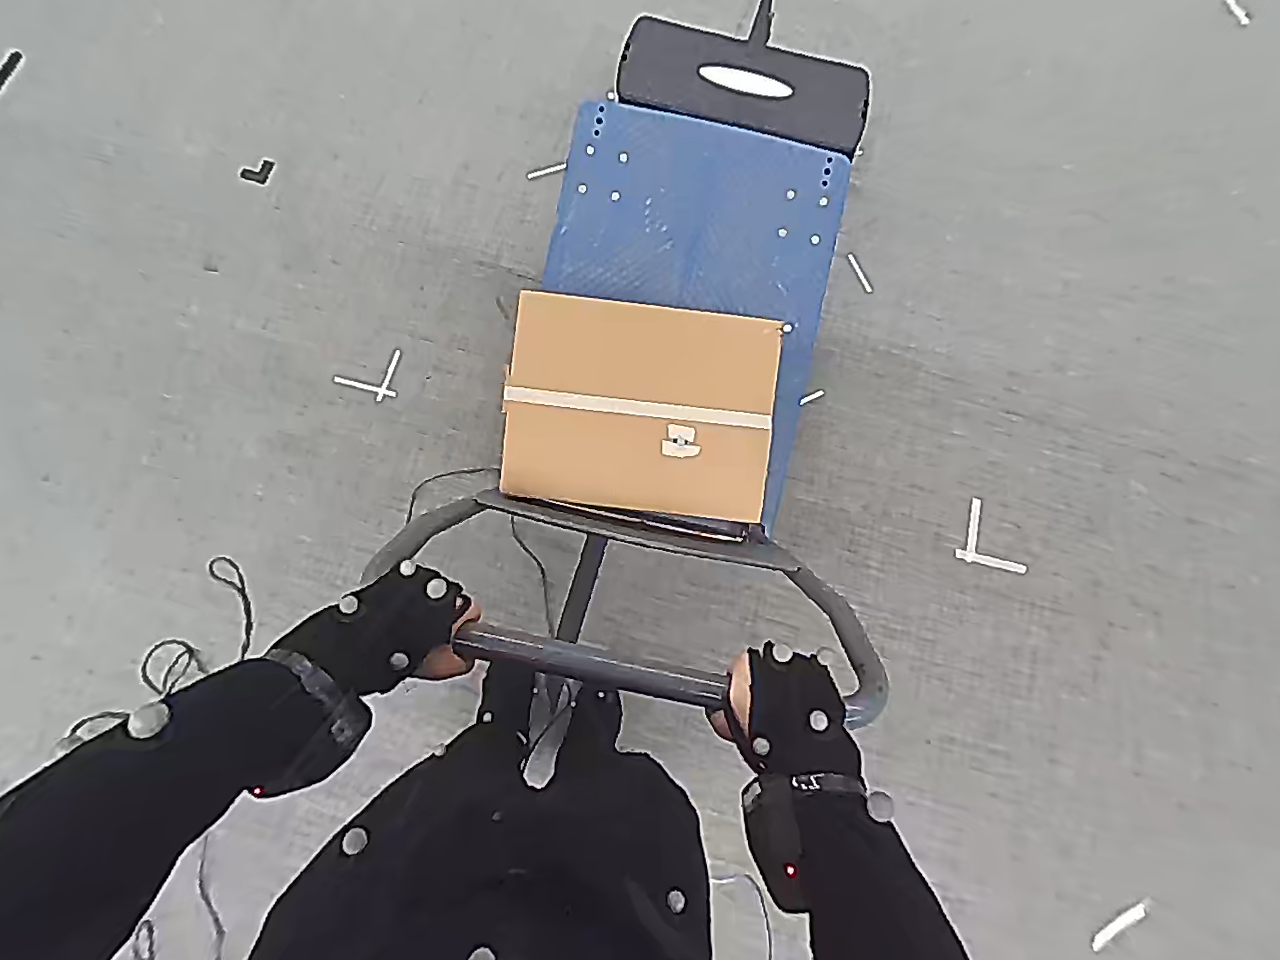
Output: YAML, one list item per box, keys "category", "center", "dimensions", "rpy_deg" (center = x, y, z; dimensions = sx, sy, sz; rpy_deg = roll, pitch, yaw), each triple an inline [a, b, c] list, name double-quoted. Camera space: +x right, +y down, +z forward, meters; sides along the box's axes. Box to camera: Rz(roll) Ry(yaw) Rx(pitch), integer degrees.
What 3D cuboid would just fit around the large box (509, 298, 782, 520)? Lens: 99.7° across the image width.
- category: "large box"
  center: [0.002, -0.110, 0.979]
  dimensions: [0.408, 0.320, 0.320]
  rpy_deg: [6, 92, -2]
